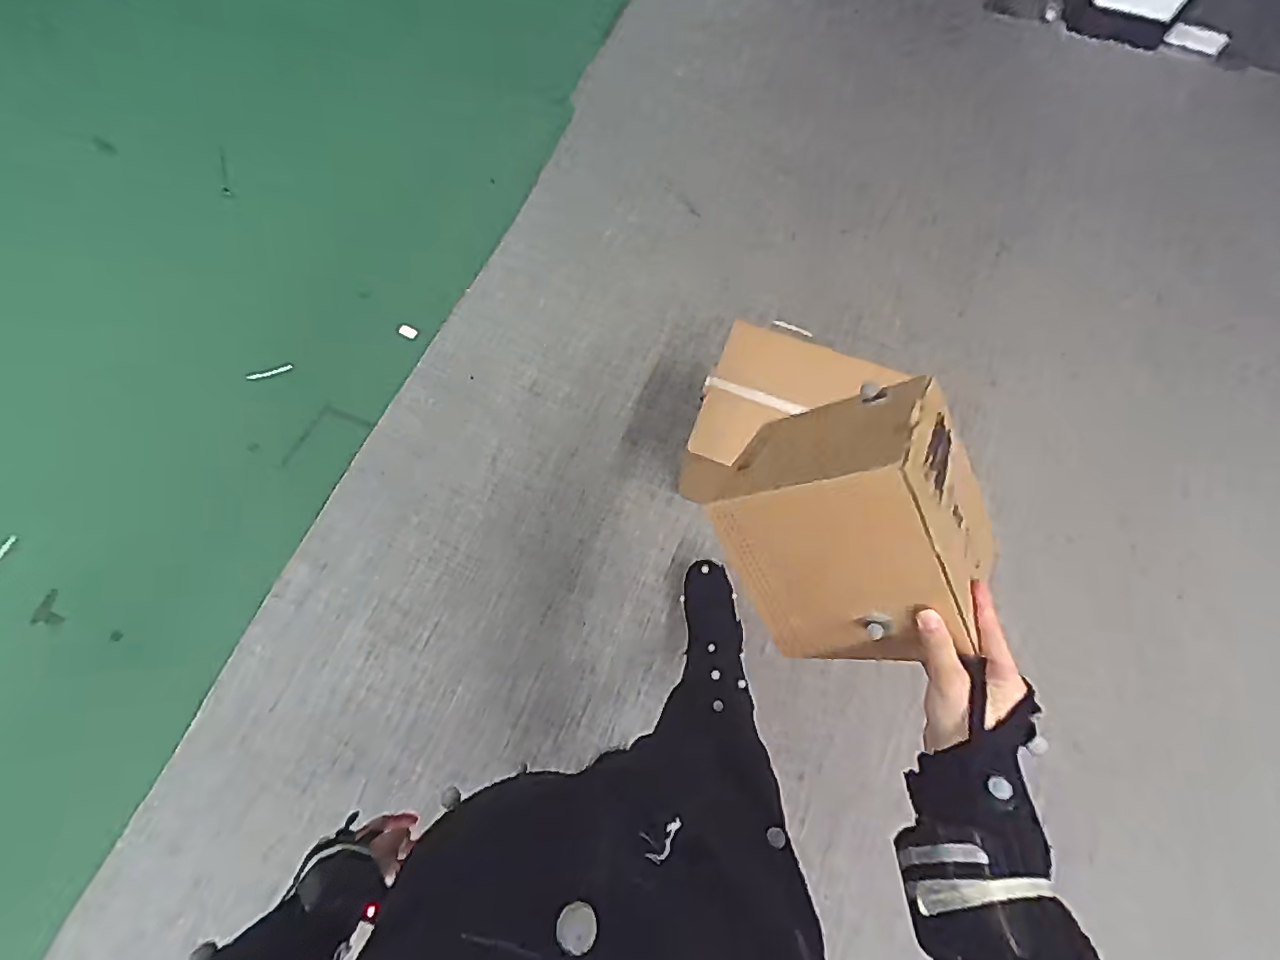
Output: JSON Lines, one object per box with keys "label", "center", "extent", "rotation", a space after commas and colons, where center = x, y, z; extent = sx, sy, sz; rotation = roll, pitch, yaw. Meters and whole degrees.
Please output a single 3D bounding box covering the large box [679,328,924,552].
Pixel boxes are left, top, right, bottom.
{"label": "large box", "center": [0.329, -0.072, 1.197], "extent": [0.408, 0.320, 0.320], "rotation": [20, 74, 6]}
